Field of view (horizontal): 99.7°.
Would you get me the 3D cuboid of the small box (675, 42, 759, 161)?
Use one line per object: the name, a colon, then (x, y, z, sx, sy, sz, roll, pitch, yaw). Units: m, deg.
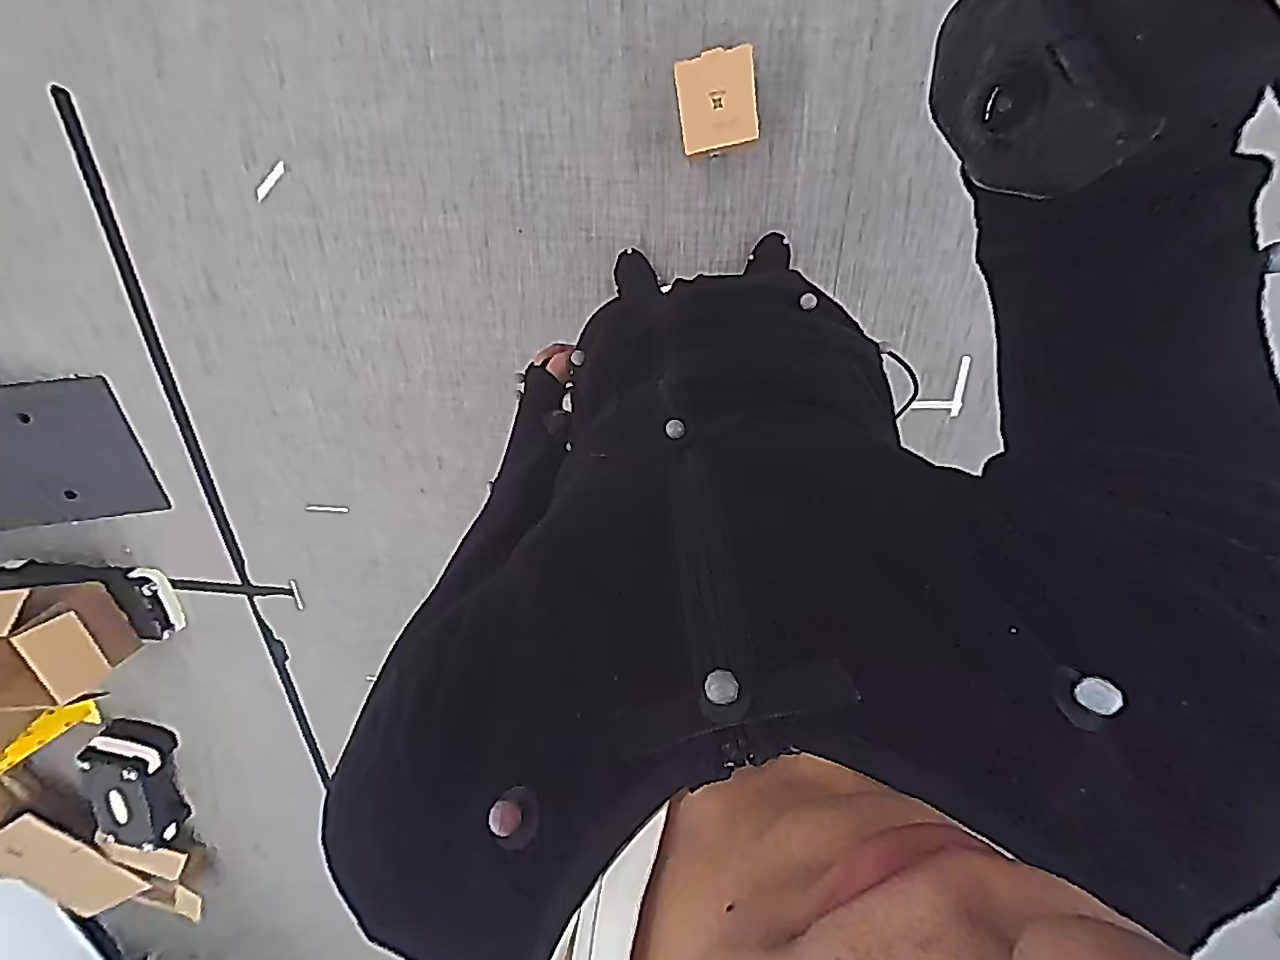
small box: (0.172, -0.844, 1.224, 0.168, 0.176, 0.179, -7, 115, 10)
